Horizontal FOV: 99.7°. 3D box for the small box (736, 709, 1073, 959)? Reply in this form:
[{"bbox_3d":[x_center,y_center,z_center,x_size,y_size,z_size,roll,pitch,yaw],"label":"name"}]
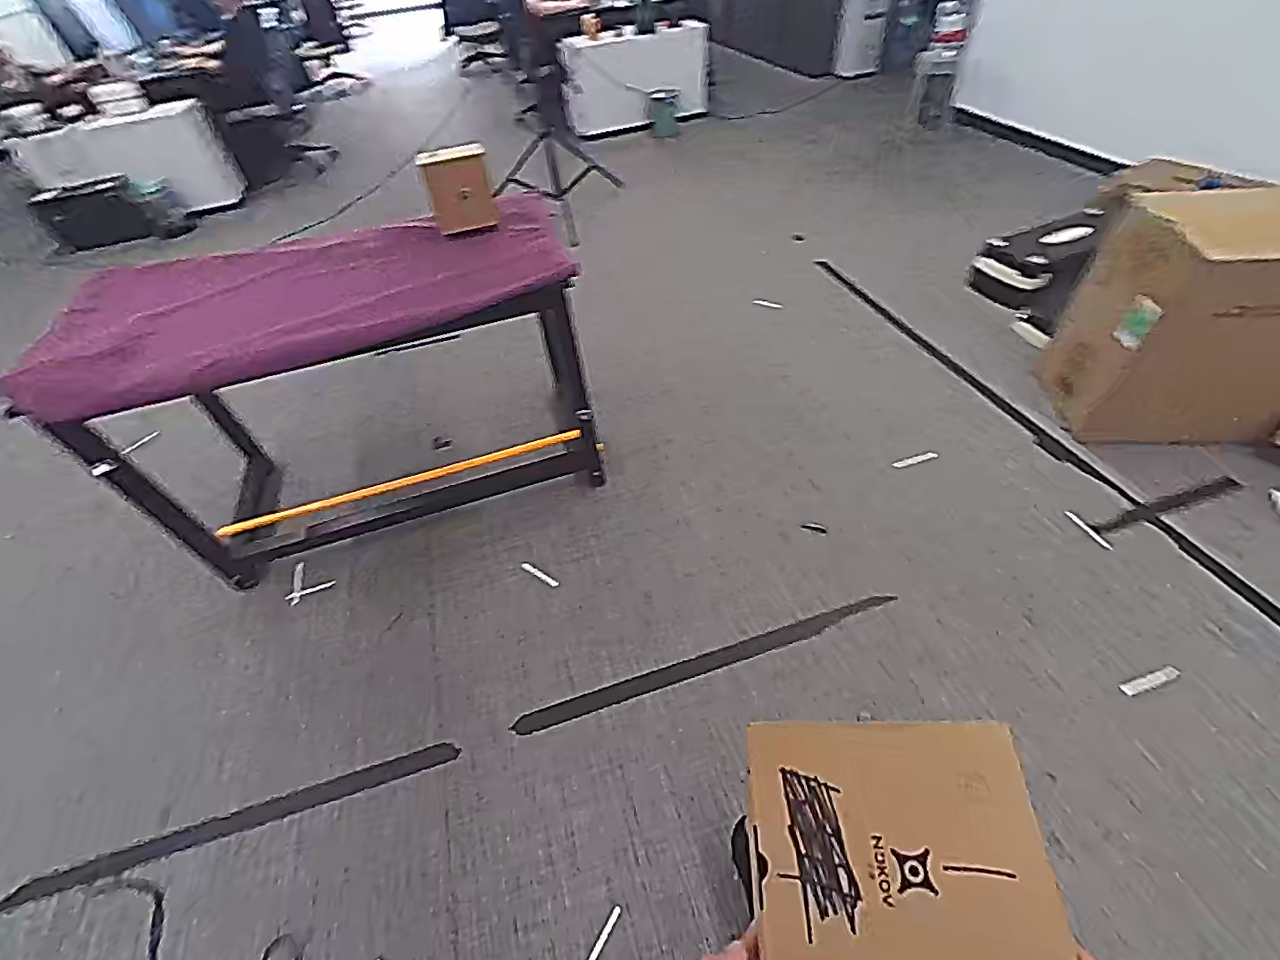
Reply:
[{"bbox_3d":[0.172,0.272,0.406,0.179,0.176,0.168,-6,61,9],"label":"small box"}]
